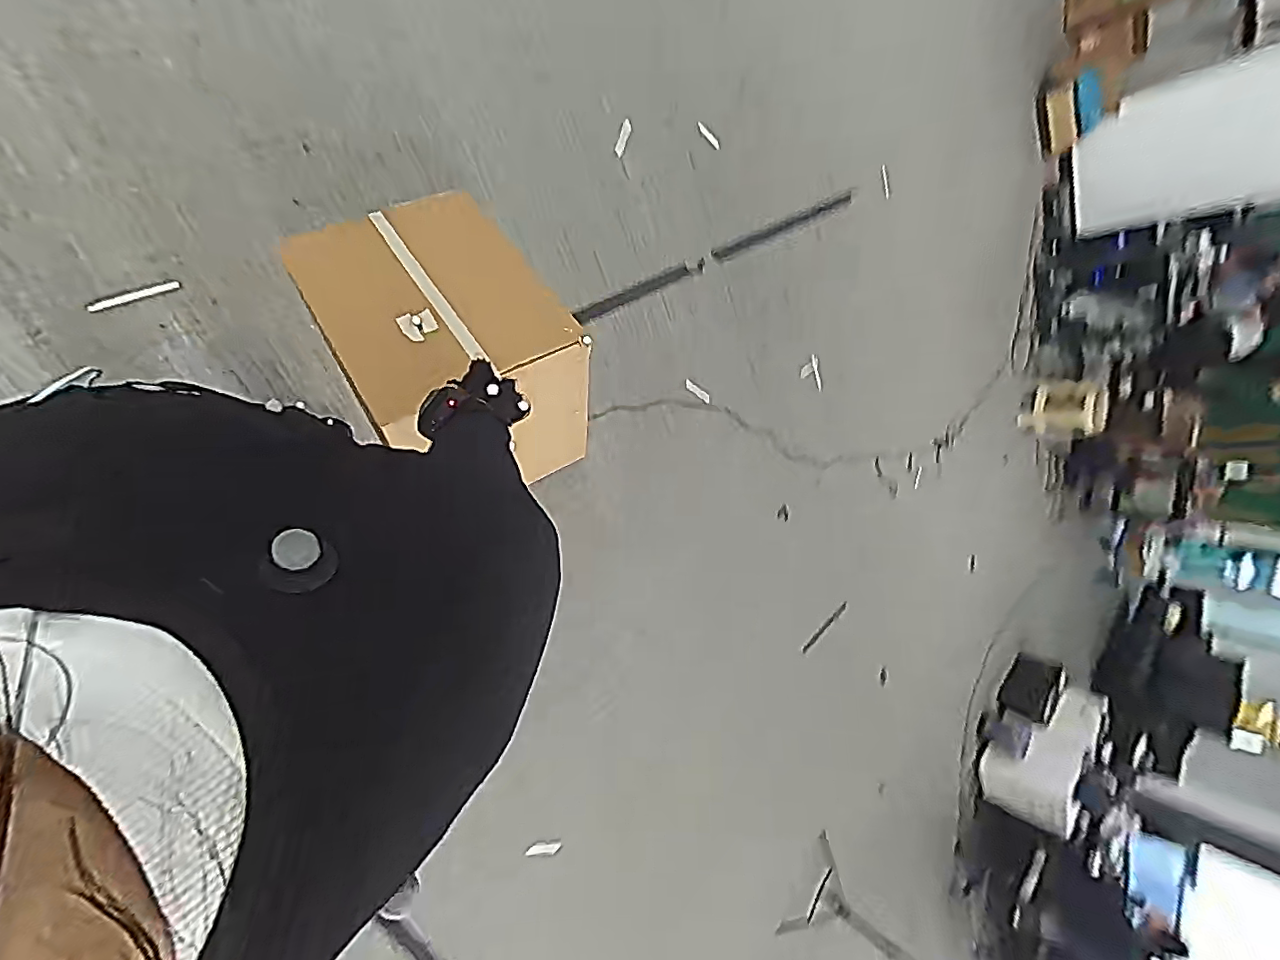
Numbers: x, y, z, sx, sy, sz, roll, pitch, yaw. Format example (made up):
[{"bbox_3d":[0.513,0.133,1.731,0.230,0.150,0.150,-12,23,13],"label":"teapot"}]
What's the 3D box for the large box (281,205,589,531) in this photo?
[{"bbox_3d":[-0.333,-0.193,0.938,0.320,0.320,0.408,-29,68,-22],"label":"large box"}]
